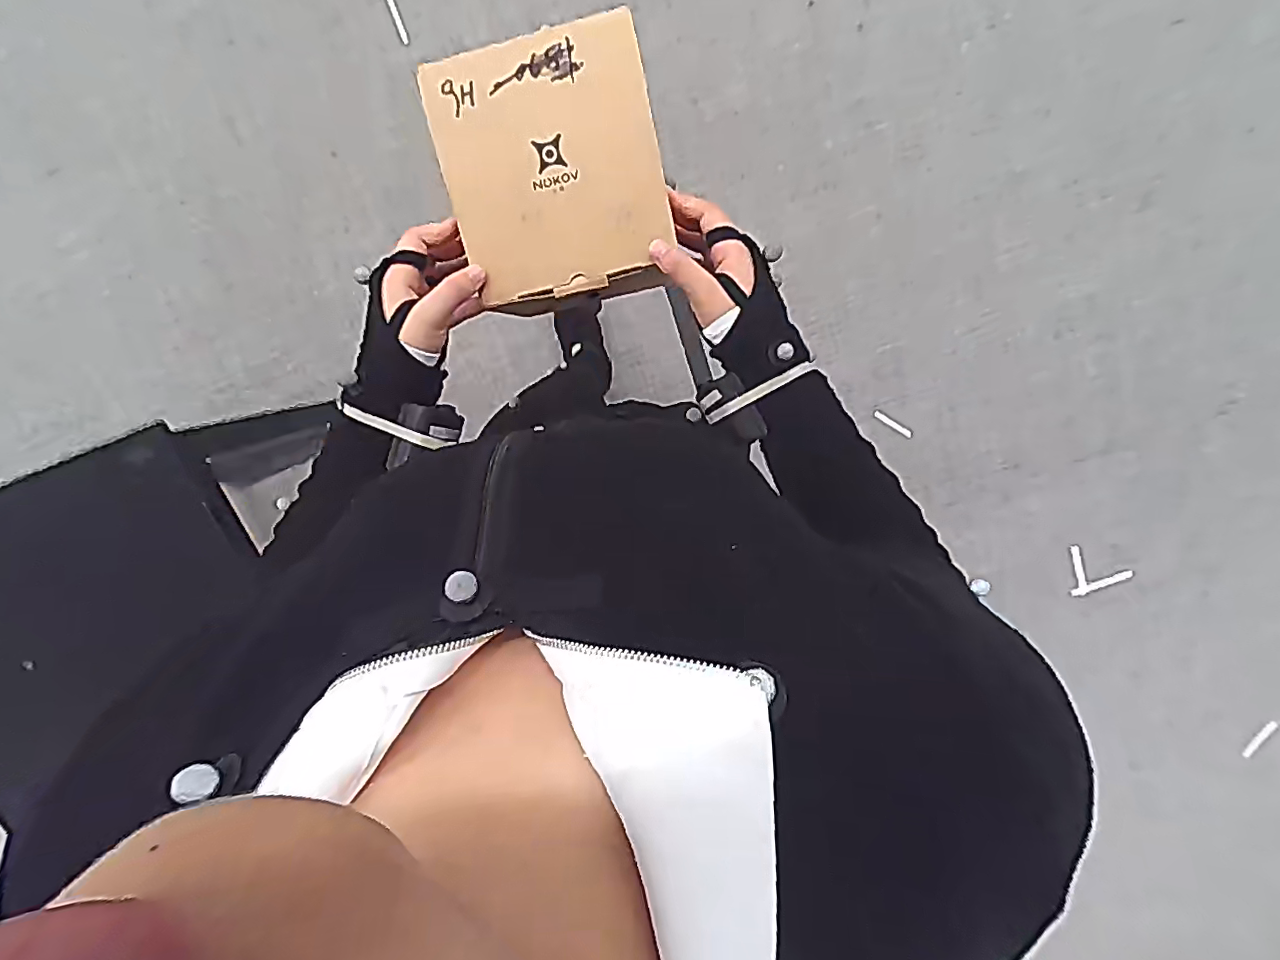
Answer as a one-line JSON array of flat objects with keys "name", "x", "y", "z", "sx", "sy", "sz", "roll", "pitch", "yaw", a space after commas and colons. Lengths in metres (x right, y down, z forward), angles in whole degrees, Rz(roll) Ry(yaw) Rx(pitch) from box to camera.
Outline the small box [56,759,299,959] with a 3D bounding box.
[{"name": "small box", "x": -0.649, "y": 0.553, "z": 0.787, "sx": 0.168, "sy": 0.176, "sz": 0.179, "roll": -21, "pitch": 102, "yaw": 5}]

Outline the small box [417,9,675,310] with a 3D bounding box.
[{"name": "small box", "x": -0.064, "y": -0.258, "z": 0.486, "sx": 0.168, "sy": 0.176, "sz": 0.179, "roll": -12, "pitch": 105, "yaw": 5}]
